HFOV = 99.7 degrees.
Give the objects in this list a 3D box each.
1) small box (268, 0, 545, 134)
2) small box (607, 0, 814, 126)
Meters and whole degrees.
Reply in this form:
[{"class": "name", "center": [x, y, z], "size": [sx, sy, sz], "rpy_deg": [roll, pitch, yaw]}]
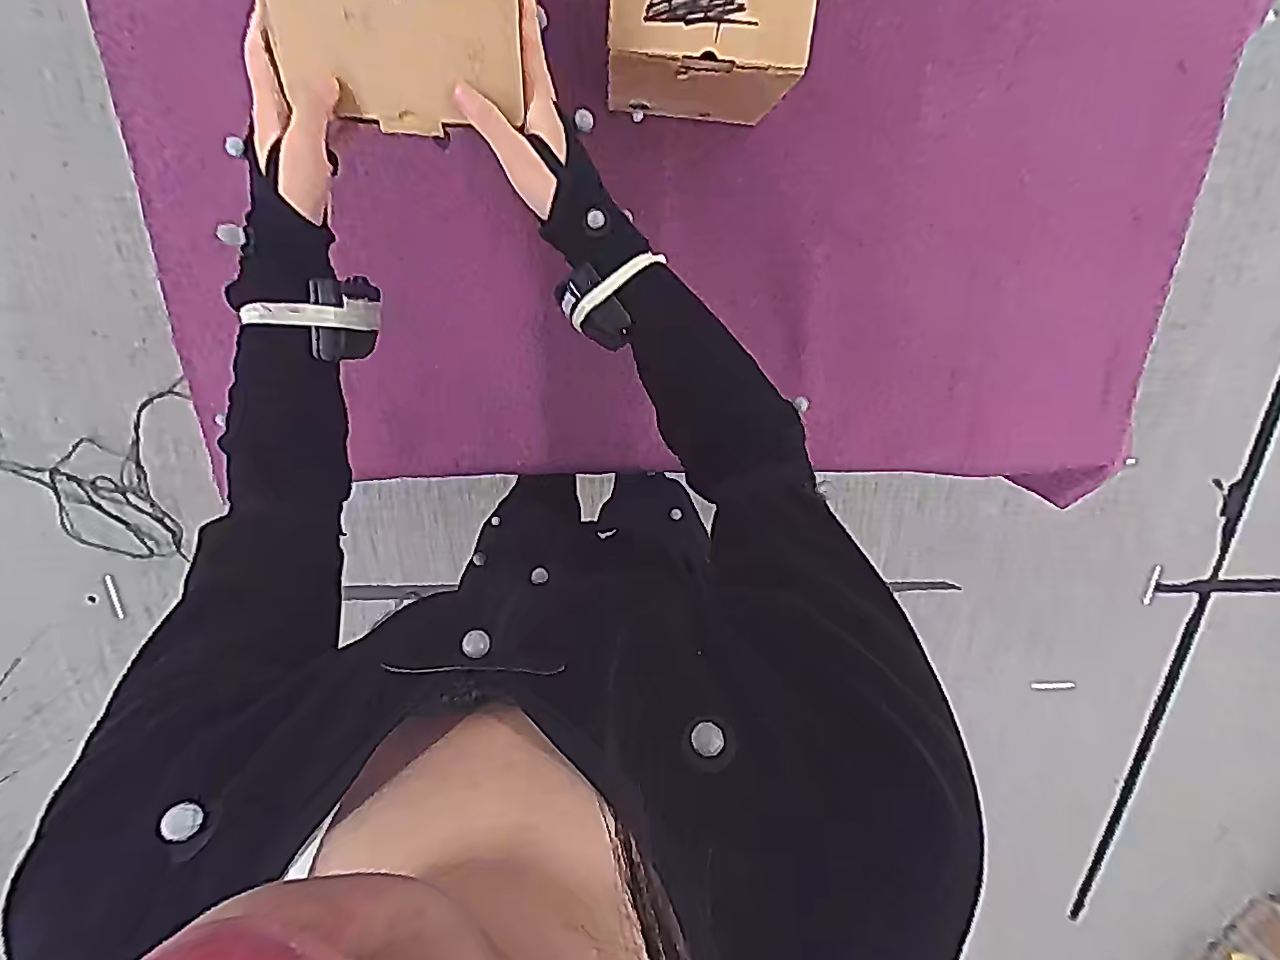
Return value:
[{"class": "small box", "center": [-0.163, -0.375, 0.410], "size": [0.168, 0.176, 0.179], "rpy_deg": [0, 124, -5]}, {"class": "small box", "center": [0.058, -0.446, 0.491], "size": [0.168, 0.176, 0.179], "rpy_deg": [3, 110, -5]}]
